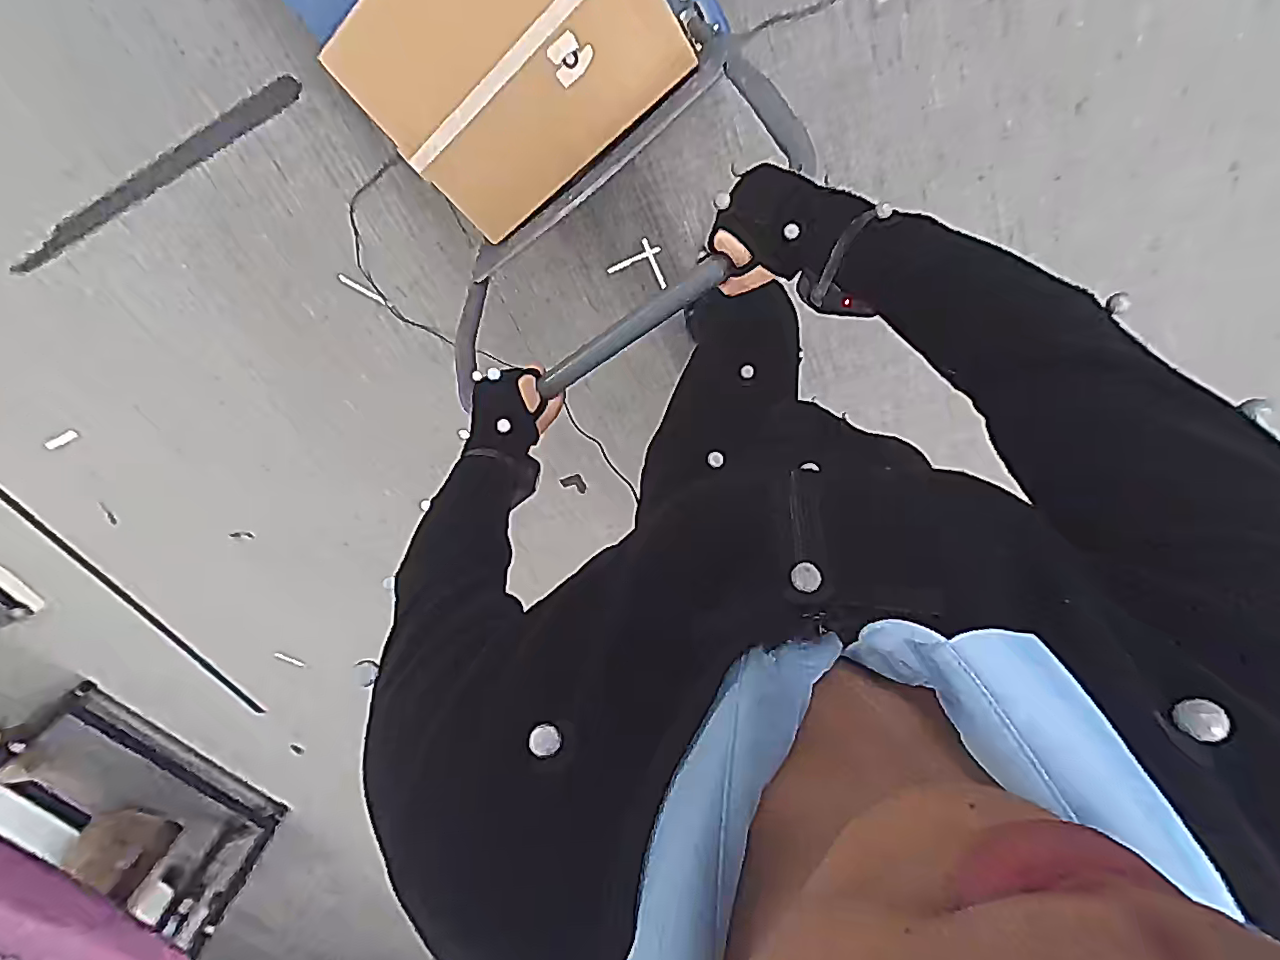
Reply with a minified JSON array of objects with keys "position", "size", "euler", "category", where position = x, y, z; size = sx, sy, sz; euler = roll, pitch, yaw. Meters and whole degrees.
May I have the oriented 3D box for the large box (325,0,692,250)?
[{"position":[-0.181,-0.652,0.828],"size":[0.408,0.320,0.320],"euler":[-31,129,23],"category":"large box"}]
